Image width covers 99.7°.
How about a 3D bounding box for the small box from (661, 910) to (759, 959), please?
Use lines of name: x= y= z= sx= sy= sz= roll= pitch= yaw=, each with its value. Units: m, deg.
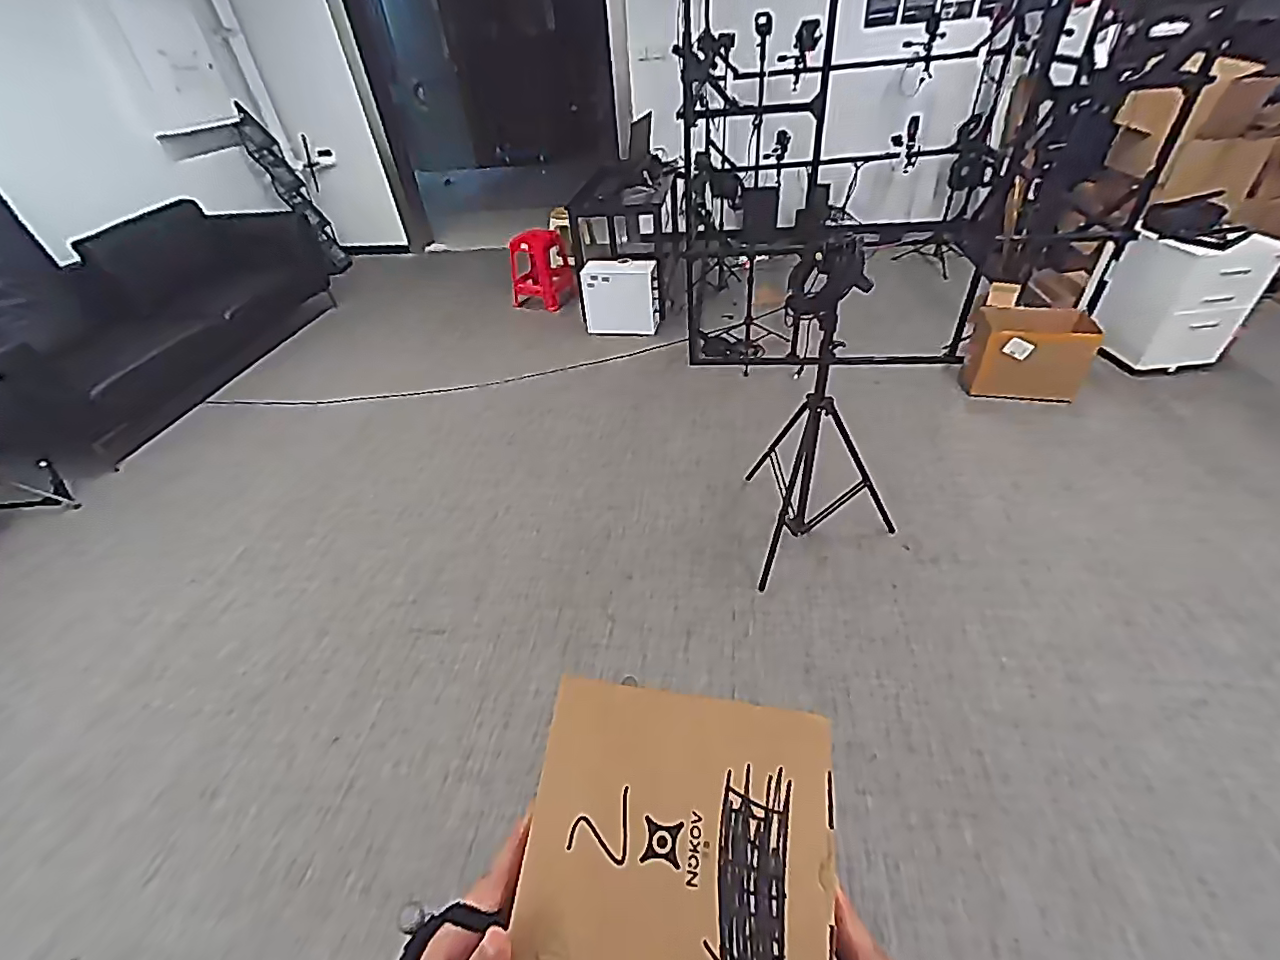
small box: x=0.118 y=0.875 z=0.927 sx=0.168 sy=0.176 sz=0.179 roll=-1 pitch=41 yaw=7
